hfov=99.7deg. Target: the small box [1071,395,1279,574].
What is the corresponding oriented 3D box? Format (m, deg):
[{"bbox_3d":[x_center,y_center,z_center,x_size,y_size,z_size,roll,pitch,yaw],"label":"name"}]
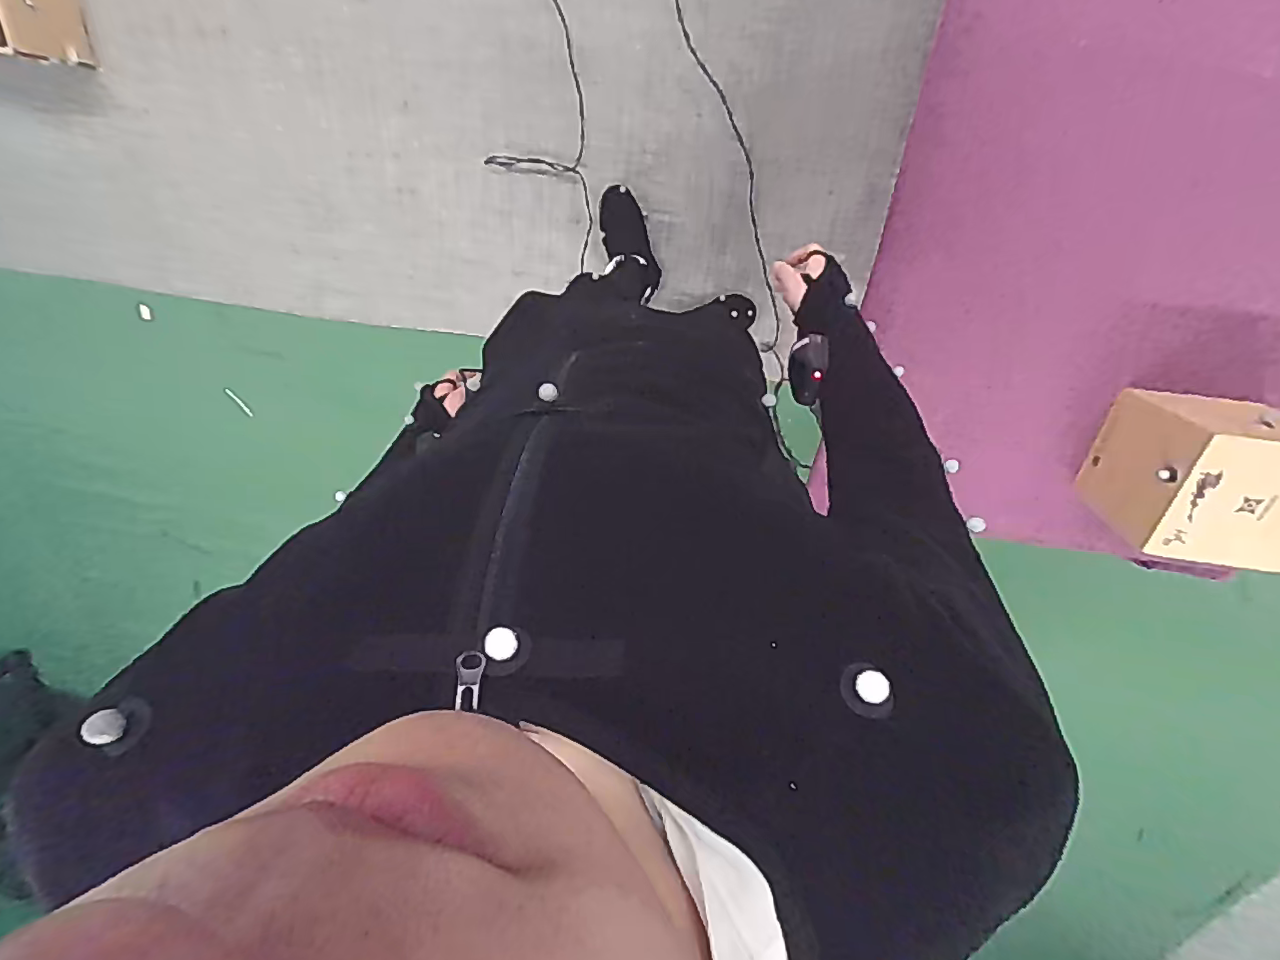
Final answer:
[{"bbox_3d":[0.727,-0.003,0.703,0.179,0.176,0.168,8,117,5],"label":"small box"}]
